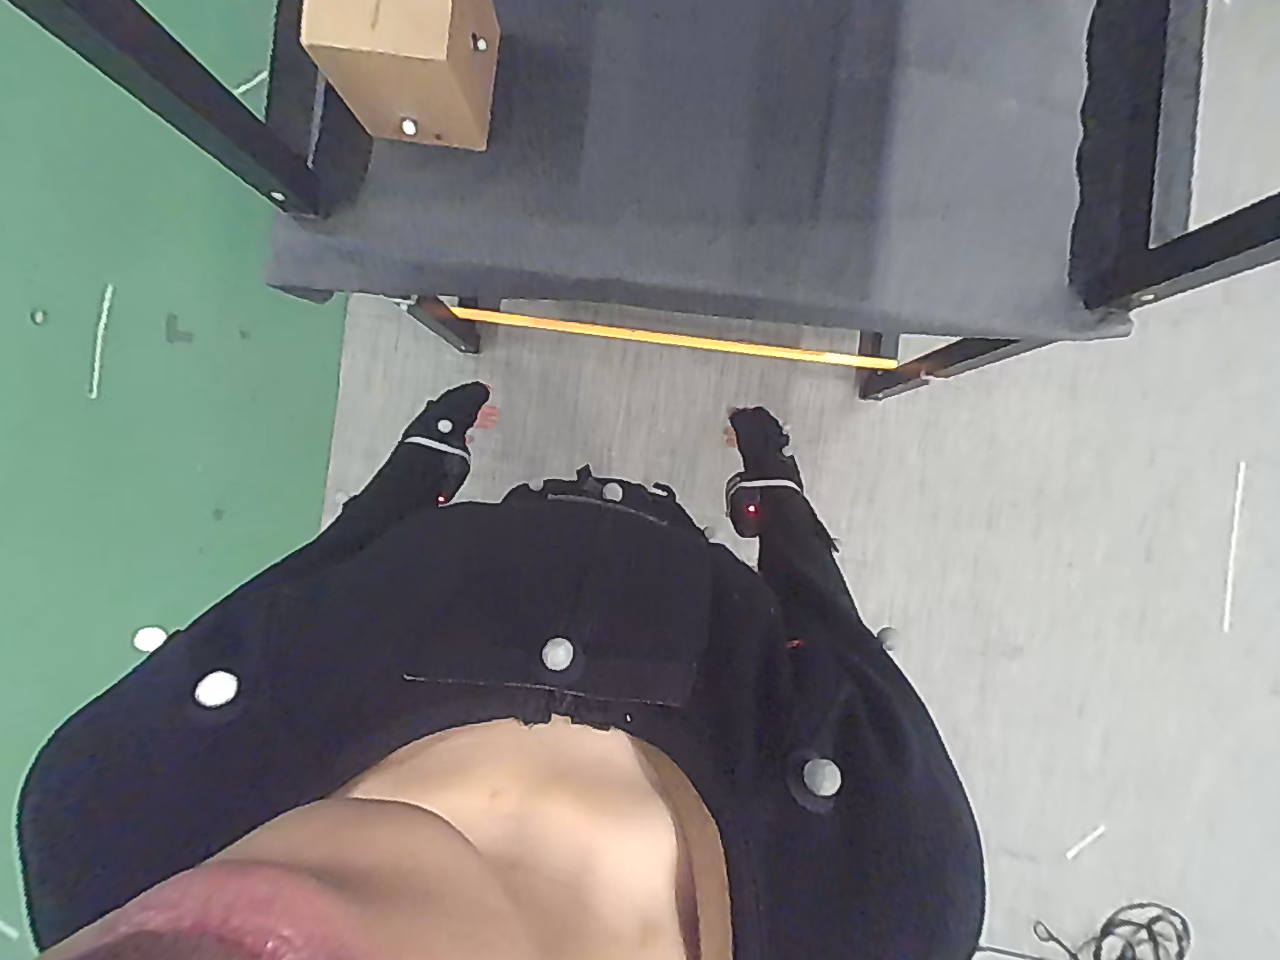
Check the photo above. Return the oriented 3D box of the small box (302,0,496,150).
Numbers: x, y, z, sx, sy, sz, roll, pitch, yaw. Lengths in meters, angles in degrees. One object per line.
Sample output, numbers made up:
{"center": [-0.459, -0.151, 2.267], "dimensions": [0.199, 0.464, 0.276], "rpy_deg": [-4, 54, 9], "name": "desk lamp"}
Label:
{"center": [-0.287, -0.563, 0.684], "dimensions": [0.168, 0.176, 0.179], "rpy_deg": [6, 90, -1], "name": "small box"}
